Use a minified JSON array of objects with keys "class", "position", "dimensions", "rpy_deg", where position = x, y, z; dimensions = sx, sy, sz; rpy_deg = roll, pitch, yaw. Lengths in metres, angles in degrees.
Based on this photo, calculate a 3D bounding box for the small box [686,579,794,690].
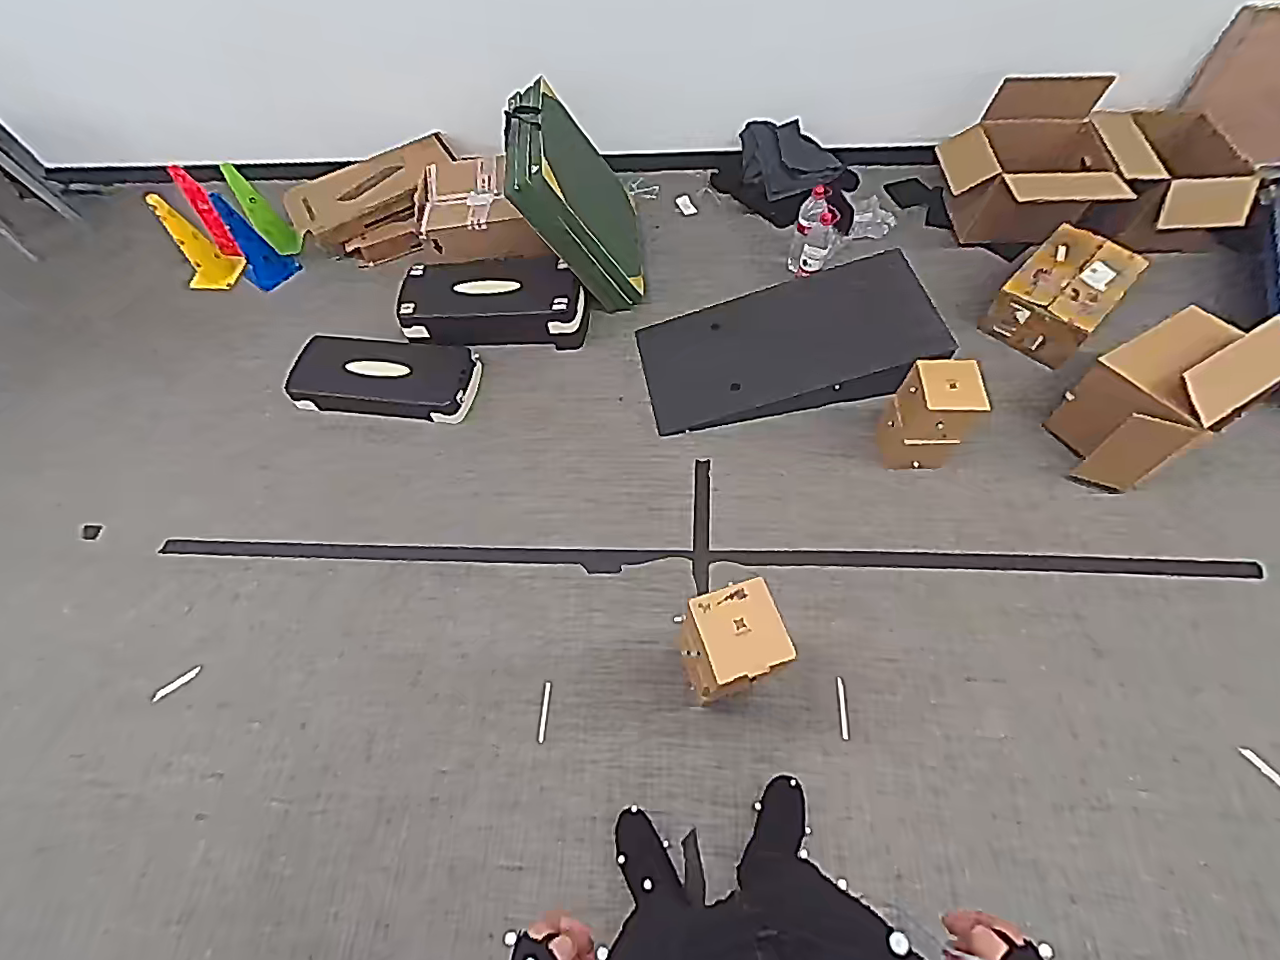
[{"class":"small box","position":[0.202,0.335,1.146],"dimensions":[0.168,0.176,0.179],"rpy_deg":[-17,63,-6]}]
